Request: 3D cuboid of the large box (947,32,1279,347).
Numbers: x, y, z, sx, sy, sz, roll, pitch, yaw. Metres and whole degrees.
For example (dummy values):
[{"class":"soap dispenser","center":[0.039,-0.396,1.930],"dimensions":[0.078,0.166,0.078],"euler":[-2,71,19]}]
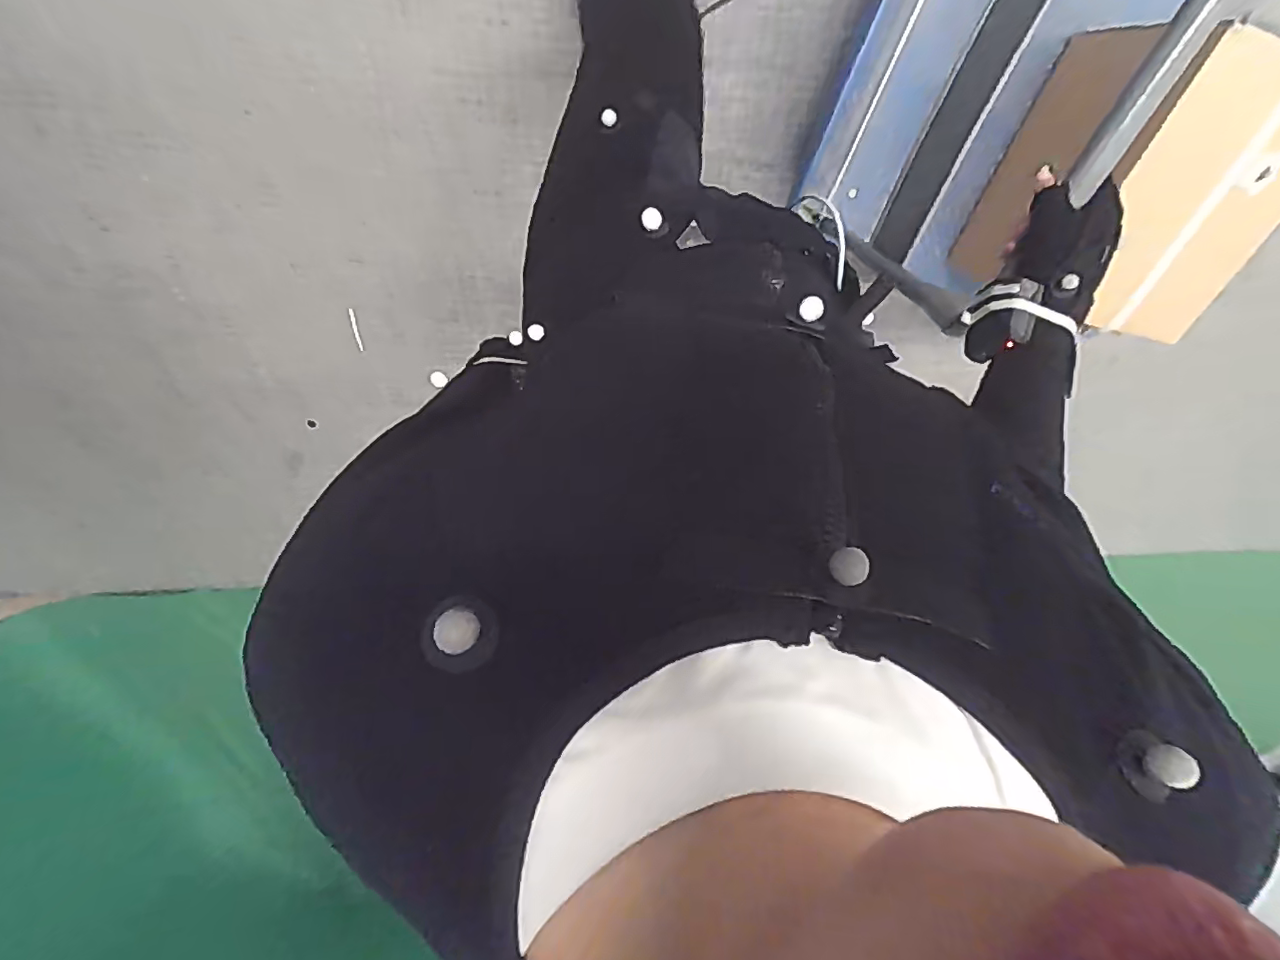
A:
[{"class":"large box","center":[0.866,-0.510,0.987],"dimensions":[0.320,0.320,0.408],"euler":[8,124,-12]}]
